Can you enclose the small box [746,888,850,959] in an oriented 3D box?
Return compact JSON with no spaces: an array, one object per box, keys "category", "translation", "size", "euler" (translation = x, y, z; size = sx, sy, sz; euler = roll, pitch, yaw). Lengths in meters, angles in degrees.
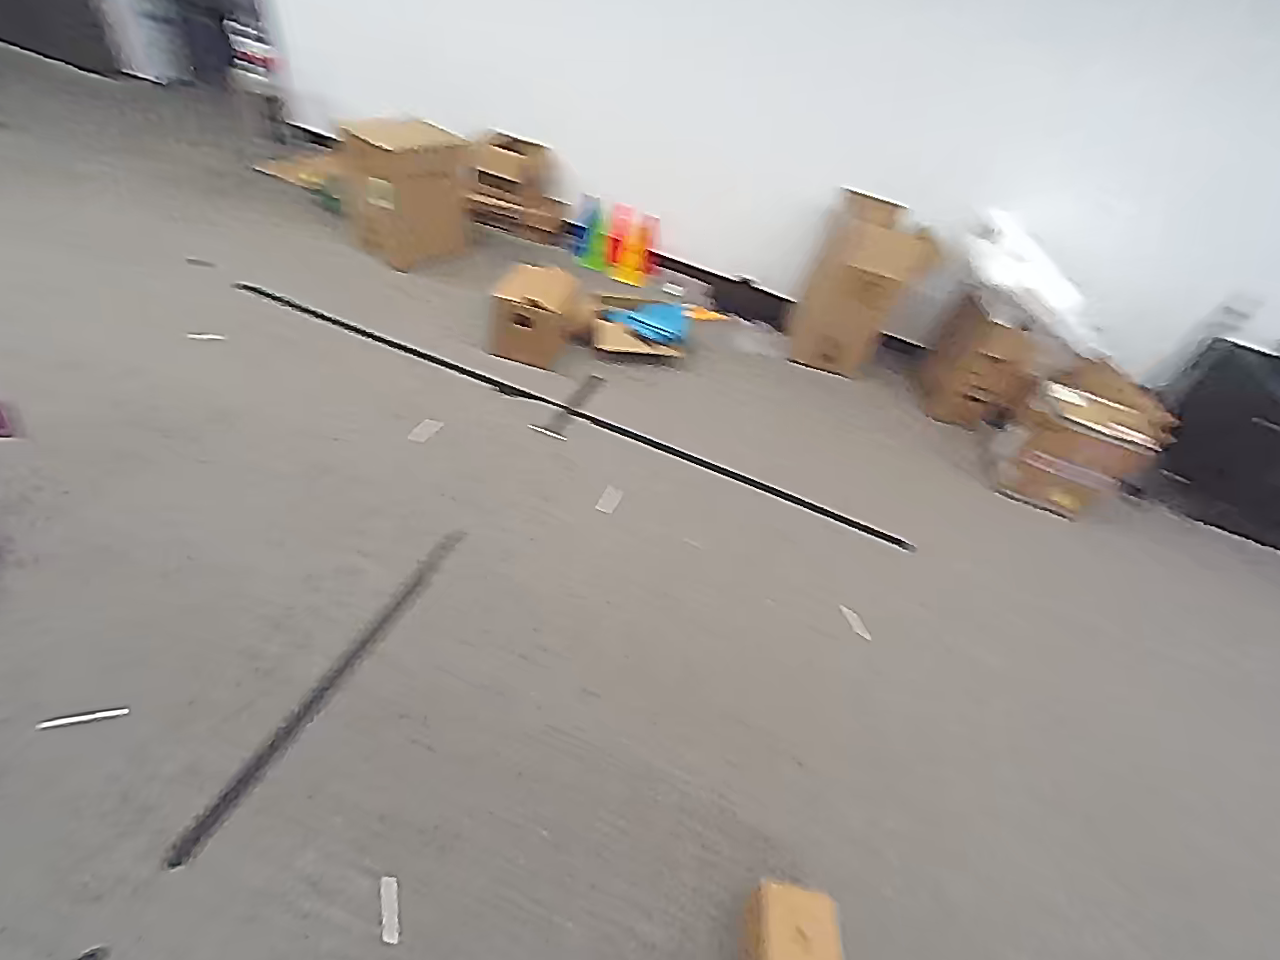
[{"category":"small box","translation":[0.334,1.017,1.163],"size":[0.168,0.176,0.179],"euler":[15,41,-3]}]
